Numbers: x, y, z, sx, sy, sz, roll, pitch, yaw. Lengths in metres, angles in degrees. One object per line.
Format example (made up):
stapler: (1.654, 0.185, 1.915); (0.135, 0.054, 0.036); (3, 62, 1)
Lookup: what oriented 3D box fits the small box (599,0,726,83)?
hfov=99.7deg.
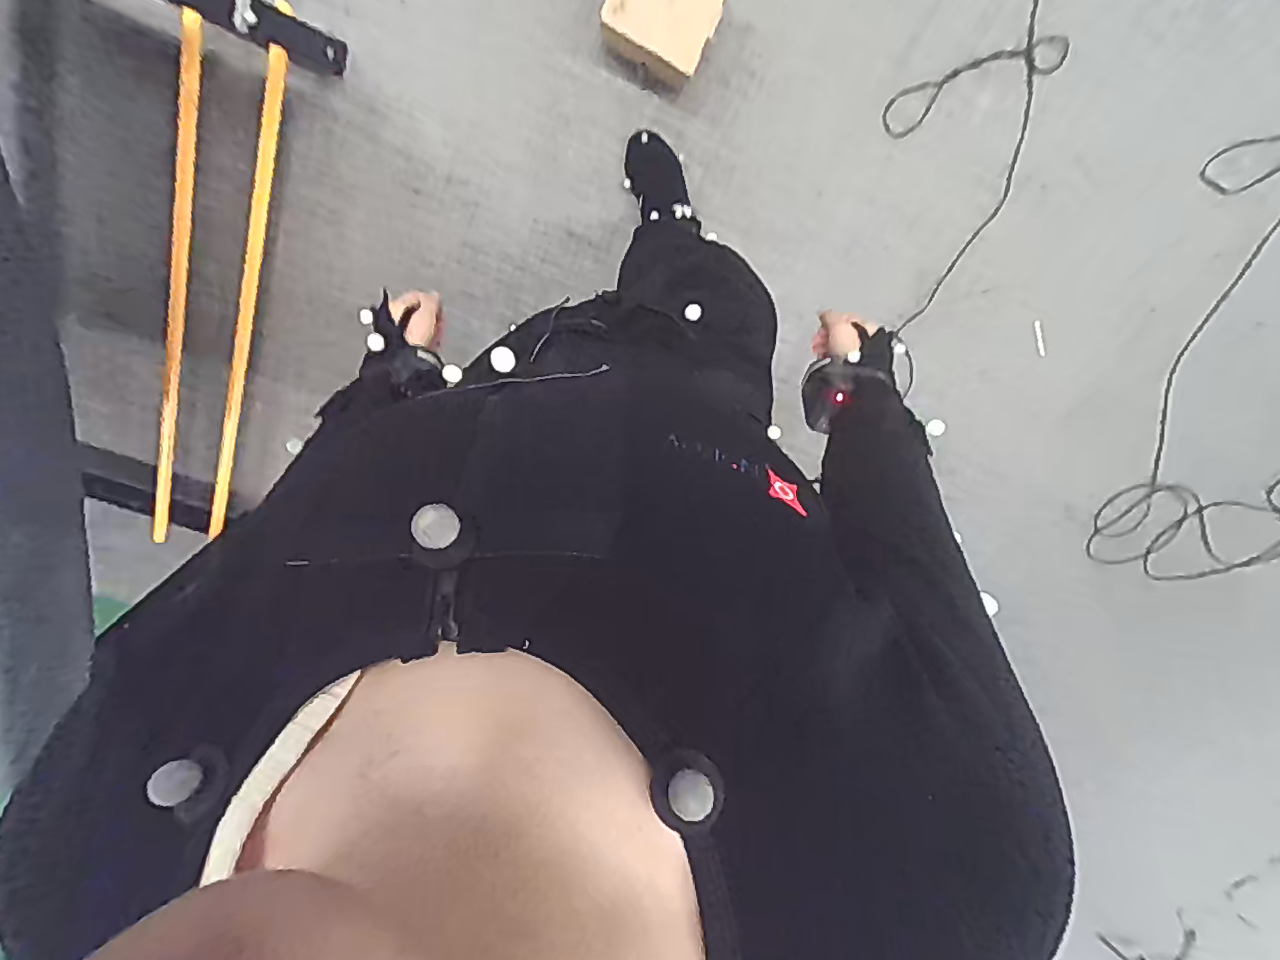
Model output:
small box: (0.043, -0.817, 0.927); (0.179, 0.176, 0.168); (22, 115, -14)
